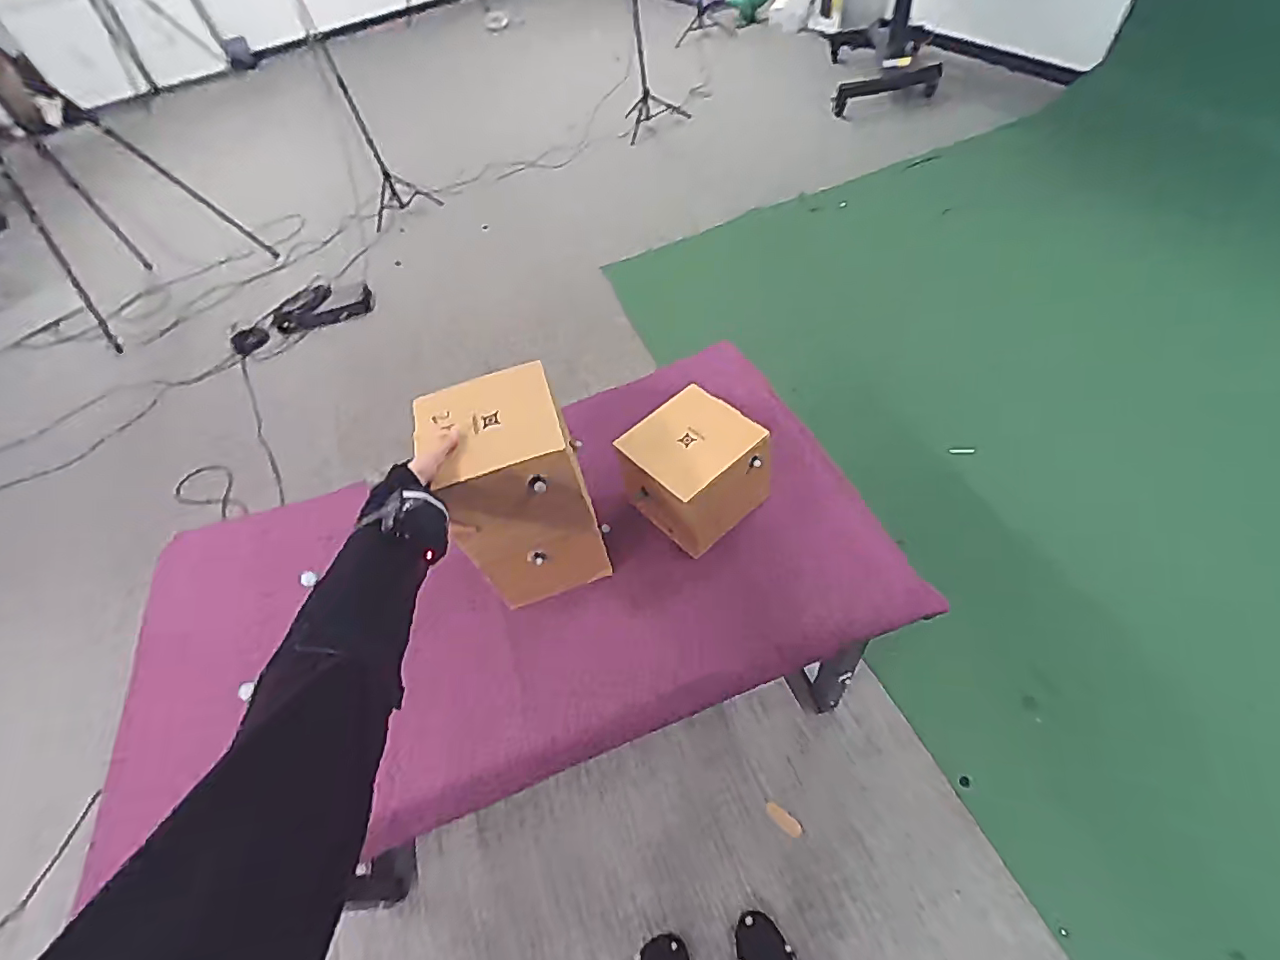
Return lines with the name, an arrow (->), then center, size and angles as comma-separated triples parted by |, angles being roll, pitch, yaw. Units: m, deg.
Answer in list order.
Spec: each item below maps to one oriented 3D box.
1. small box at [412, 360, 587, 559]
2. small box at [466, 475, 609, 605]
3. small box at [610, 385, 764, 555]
small box -> -0.176, -0.023, 0.711 | 0.179, 0.176, 0.168 | -18, 52, -3
small box -> -0.162, 0.072, 0.845 | 0.179, 0.176, 0.168 | -18, 52, -5
small box -> 0.082, -0.012, 0.866 | 0.179, 0.176, 0.168 | -38, 55, -18
